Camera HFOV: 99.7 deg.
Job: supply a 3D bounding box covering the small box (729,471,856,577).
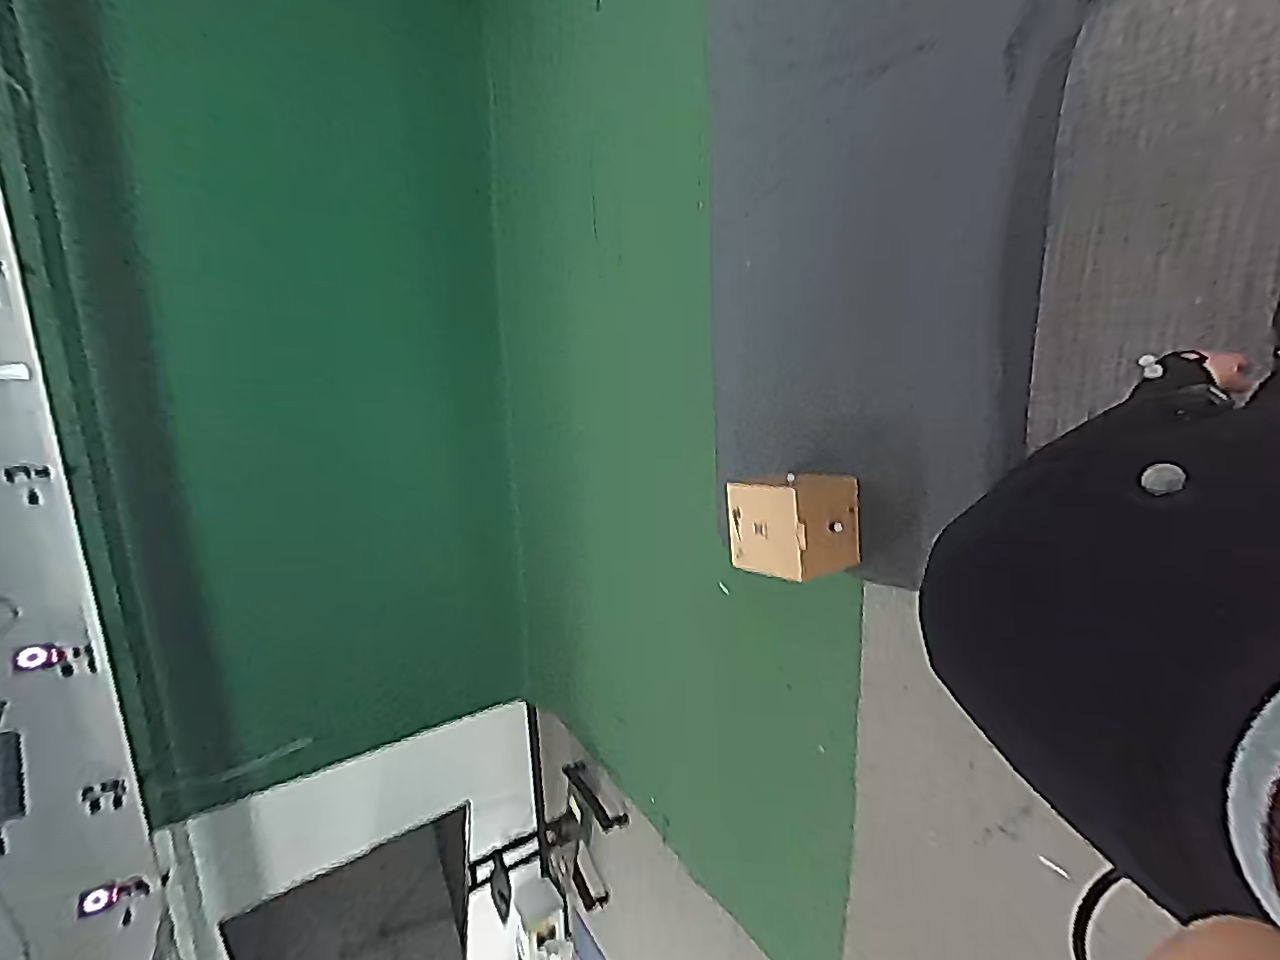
[{"bbox_3d":[0.297,0.073,1.037,0.179,0.176,0.168,4,100,56],"label":"small box"}]
